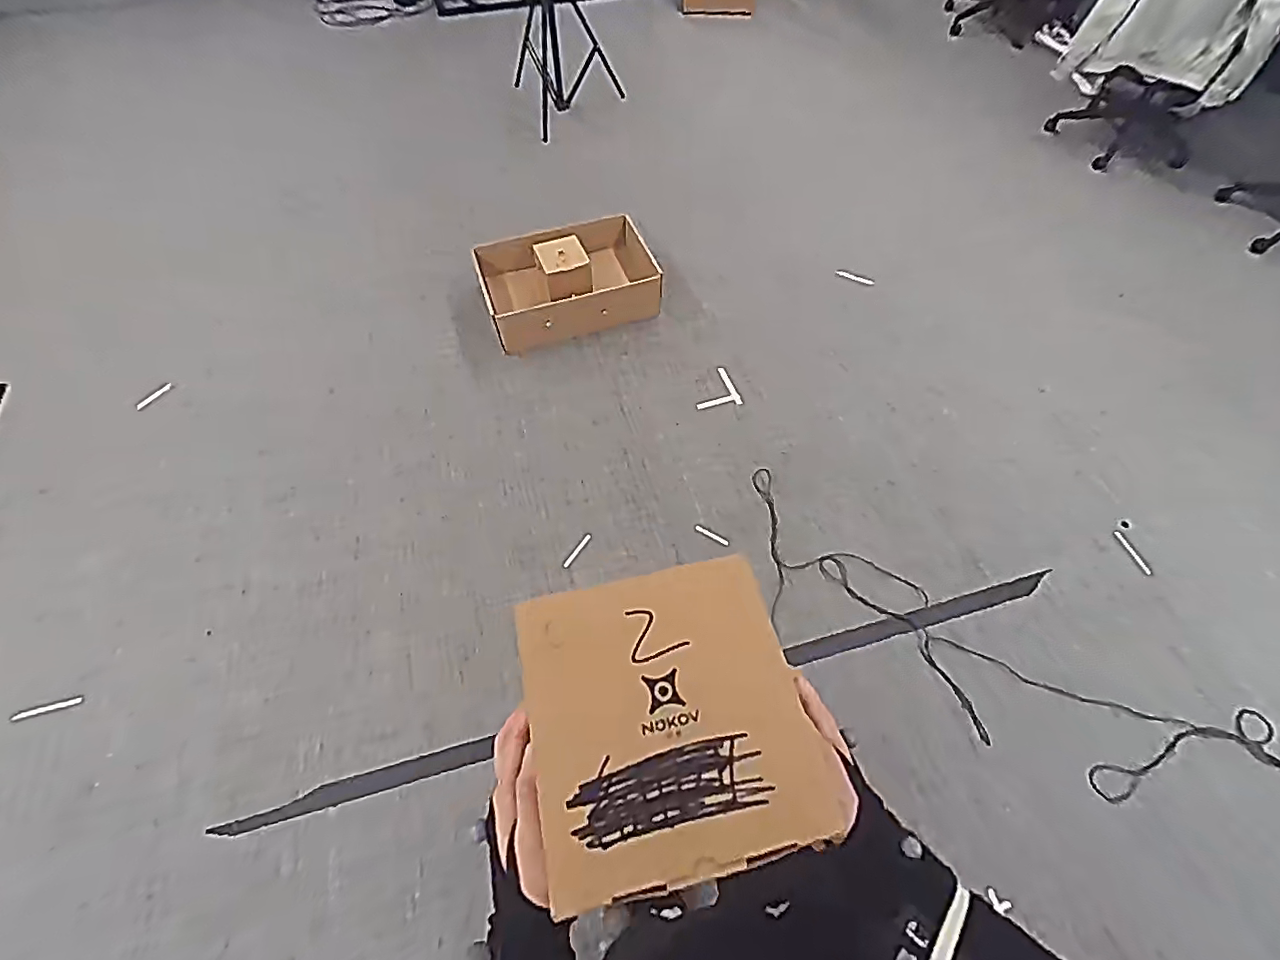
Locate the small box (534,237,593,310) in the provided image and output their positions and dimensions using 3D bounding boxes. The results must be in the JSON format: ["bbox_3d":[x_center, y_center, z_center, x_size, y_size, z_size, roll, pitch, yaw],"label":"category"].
[{"bbox_3d":[-0.281,-0.761,1.997,0.168,0.176,0.179,-19,61,-11],"label":"small box"}]
